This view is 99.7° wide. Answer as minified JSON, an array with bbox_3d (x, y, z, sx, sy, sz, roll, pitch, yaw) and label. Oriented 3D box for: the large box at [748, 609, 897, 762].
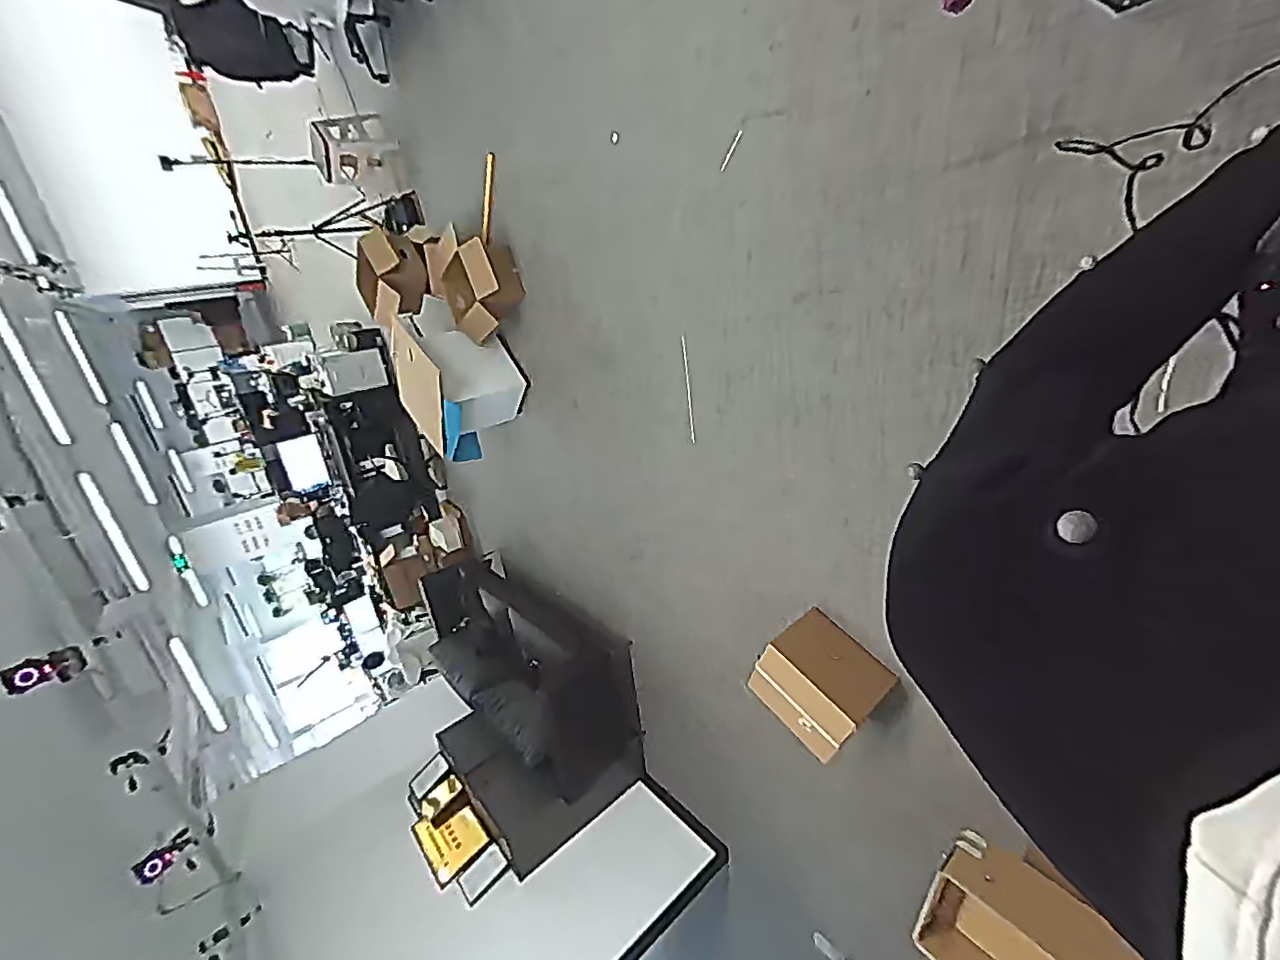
[{"bbox_3d":[0.706,0.794,2.132,0.408,0.320,0.320,40,138,31],"label":"large box"}]
